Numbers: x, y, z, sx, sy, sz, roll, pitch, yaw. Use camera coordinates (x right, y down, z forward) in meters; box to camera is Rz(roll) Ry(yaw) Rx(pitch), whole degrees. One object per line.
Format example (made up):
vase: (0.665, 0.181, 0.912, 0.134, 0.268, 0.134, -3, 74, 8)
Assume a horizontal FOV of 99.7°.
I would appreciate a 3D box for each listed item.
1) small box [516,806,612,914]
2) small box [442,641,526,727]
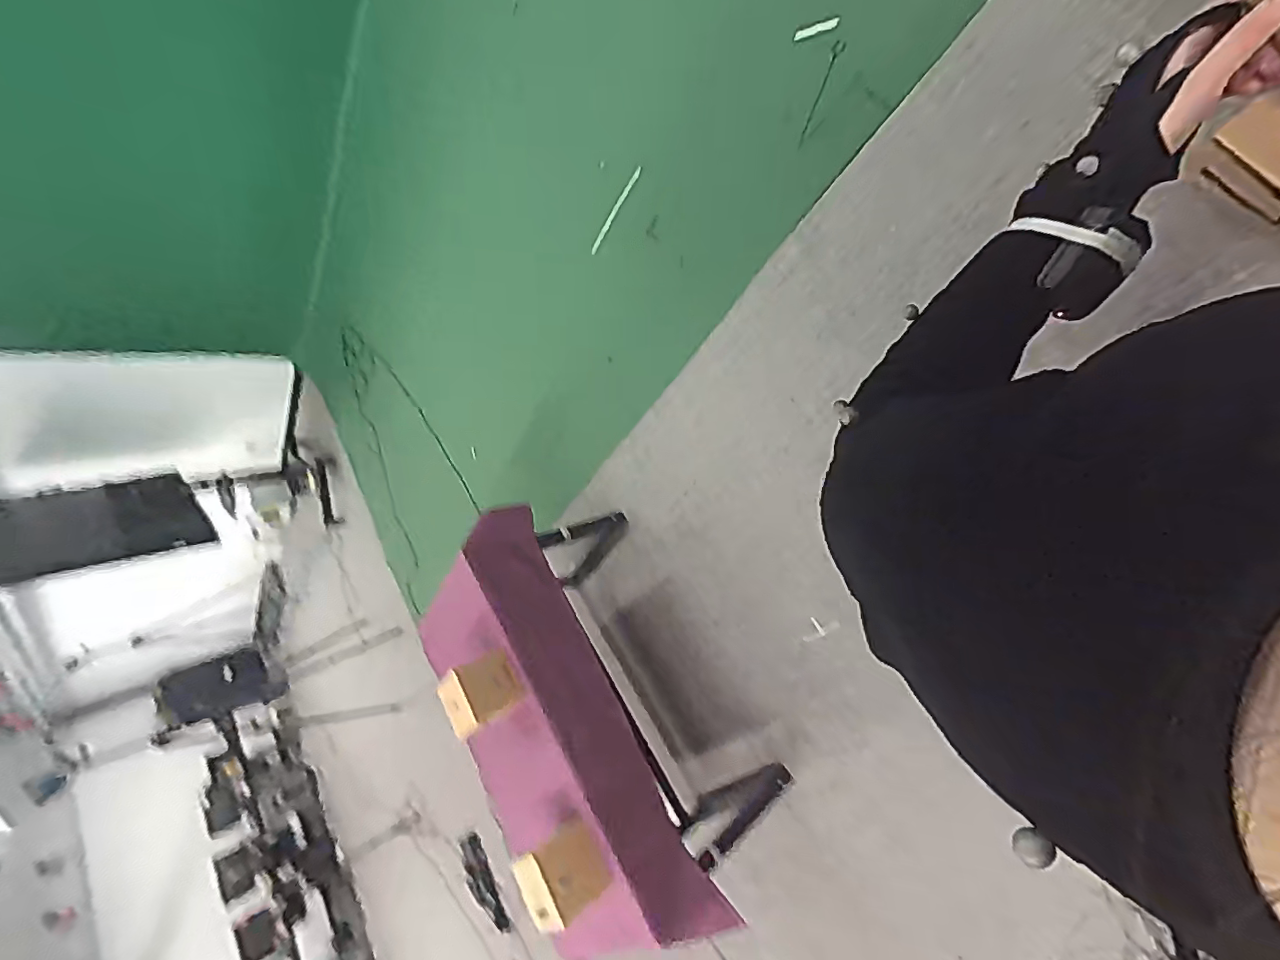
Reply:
small box: (-0.206, 1.035, 1.479, 0.168, 0.176, 0.179, -49, 64, 40)
small box: (-0.471, 0.615, 1.644, 0.179, 0.176, 0.168, -48, 65, 40)
